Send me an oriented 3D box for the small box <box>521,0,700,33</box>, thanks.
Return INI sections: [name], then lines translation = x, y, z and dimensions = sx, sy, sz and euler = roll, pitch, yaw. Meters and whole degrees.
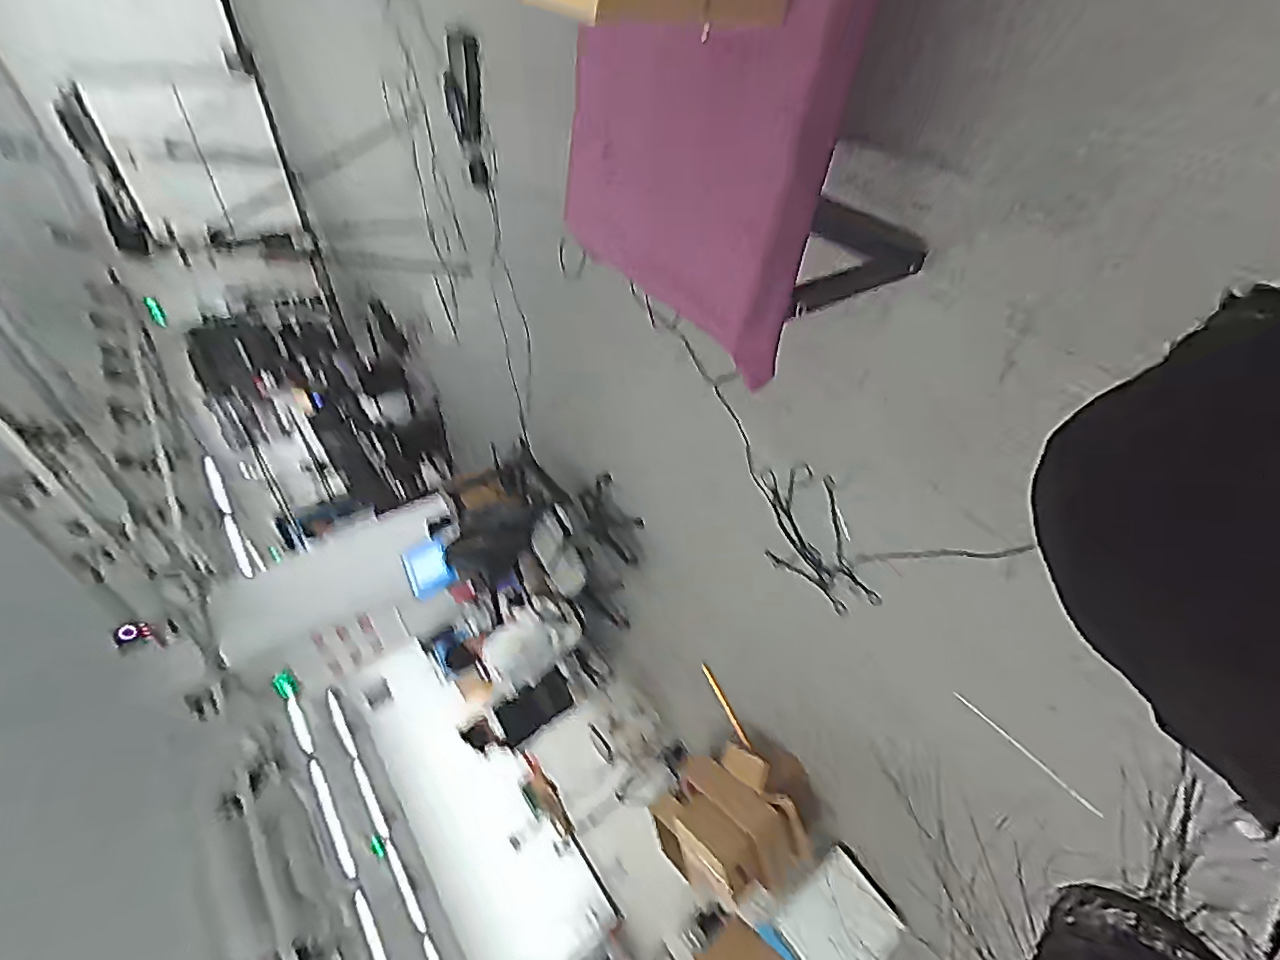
[small box]
translation = -0.033, -0.664, 0.658
dimensions = 0.179, 0.176, 0.168
euler = 44, 146, 31
